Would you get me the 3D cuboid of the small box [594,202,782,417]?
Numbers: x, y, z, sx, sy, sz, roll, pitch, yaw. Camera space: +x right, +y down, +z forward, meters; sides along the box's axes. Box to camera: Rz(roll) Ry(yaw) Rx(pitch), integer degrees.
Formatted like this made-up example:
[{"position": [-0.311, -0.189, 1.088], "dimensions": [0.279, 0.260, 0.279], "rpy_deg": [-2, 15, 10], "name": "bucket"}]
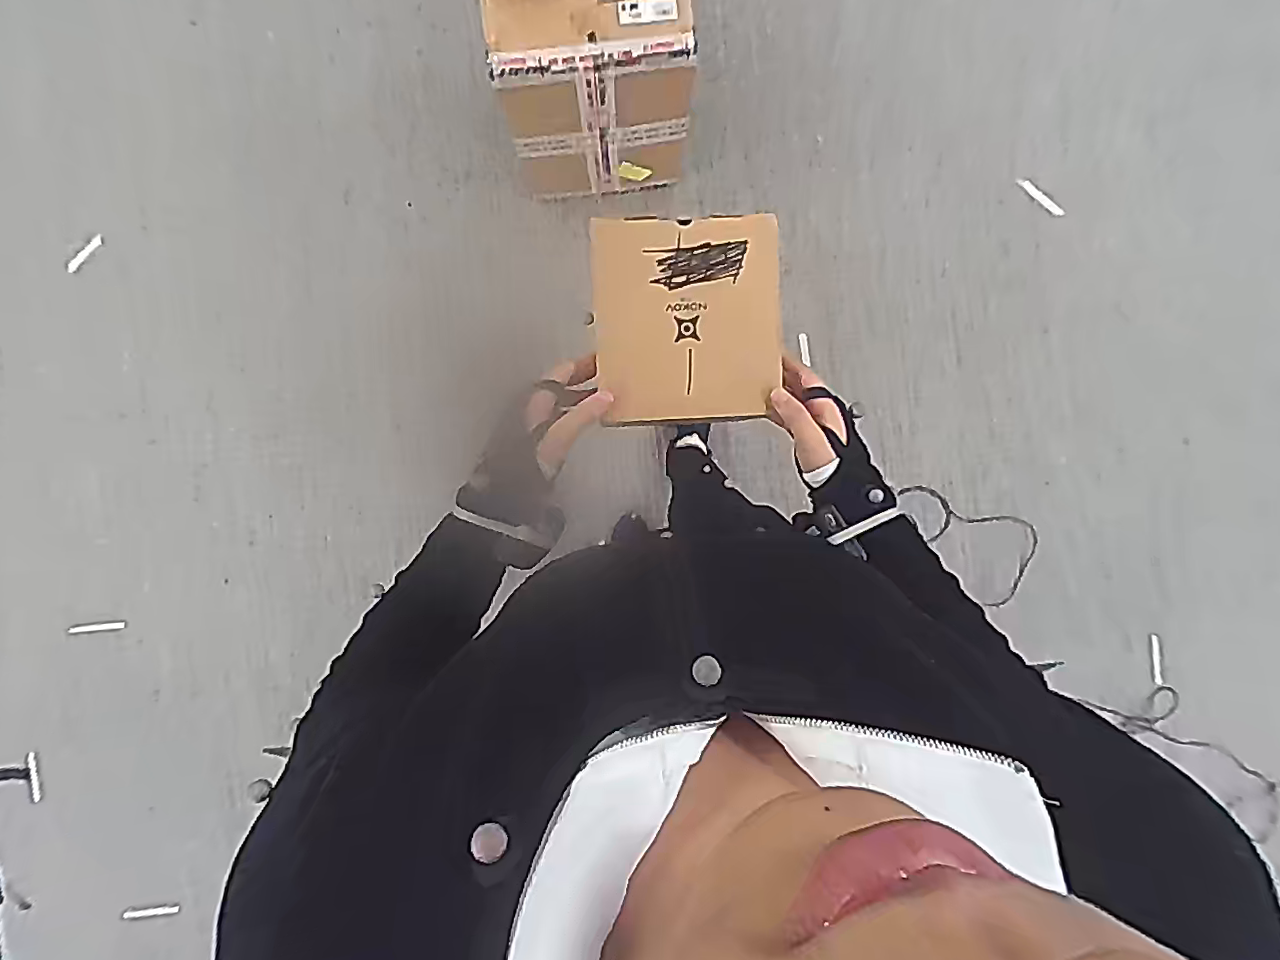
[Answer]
[{"position": [0.038, -0.160, 0.556], "dimensions": [0.168, 0.176, 0.179], "rpy_deg": [-3, 94, -3], "name": "small box"}]
